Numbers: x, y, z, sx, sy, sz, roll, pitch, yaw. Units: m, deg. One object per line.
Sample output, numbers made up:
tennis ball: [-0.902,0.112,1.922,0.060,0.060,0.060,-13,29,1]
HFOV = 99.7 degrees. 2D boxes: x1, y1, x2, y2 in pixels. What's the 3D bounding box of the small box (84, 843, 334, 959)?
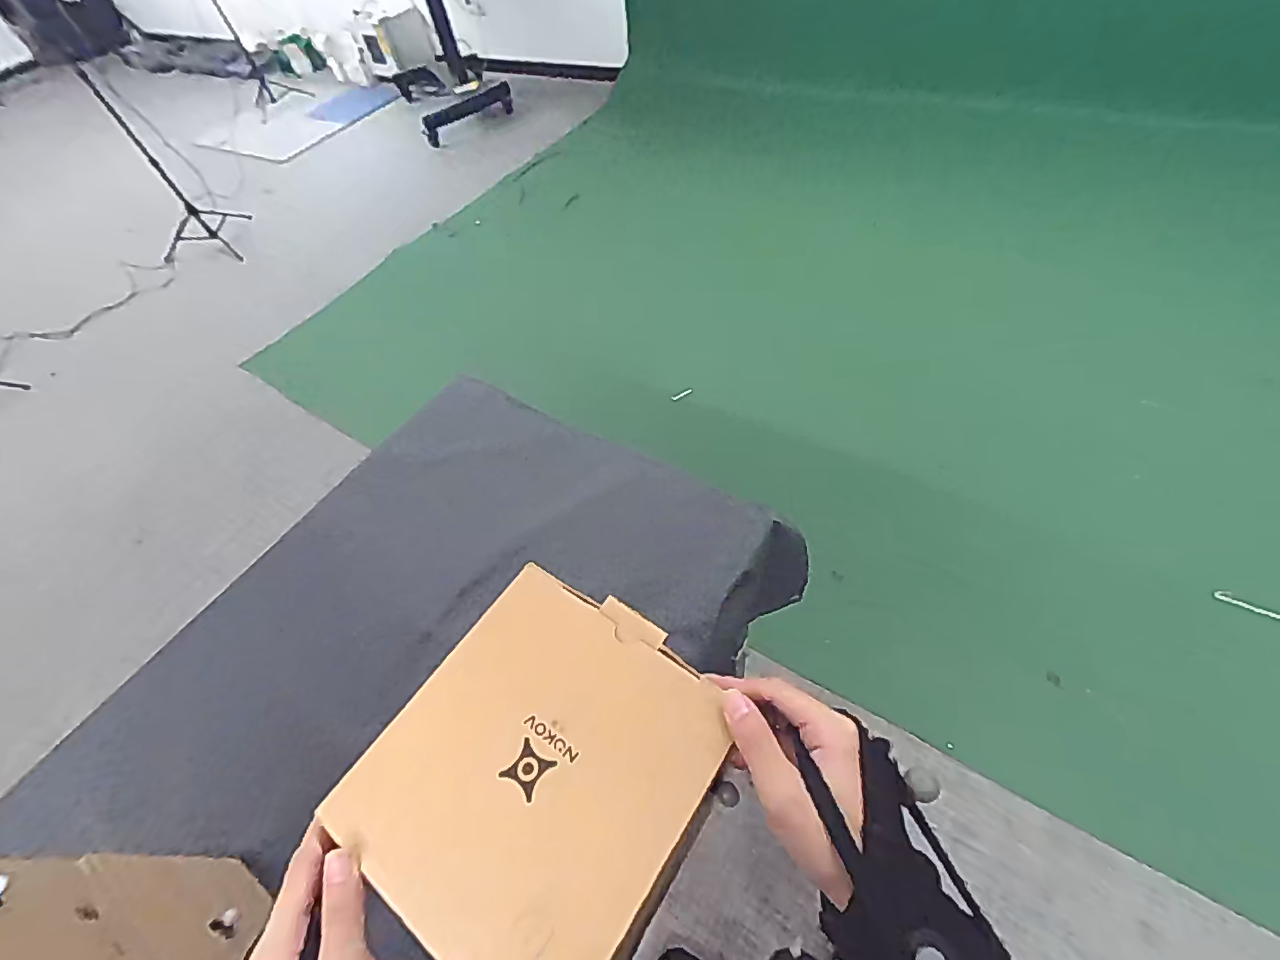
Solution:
small box: [-0.385,0.422,0.418,0.179,0.176,0.168,24,61,23]
